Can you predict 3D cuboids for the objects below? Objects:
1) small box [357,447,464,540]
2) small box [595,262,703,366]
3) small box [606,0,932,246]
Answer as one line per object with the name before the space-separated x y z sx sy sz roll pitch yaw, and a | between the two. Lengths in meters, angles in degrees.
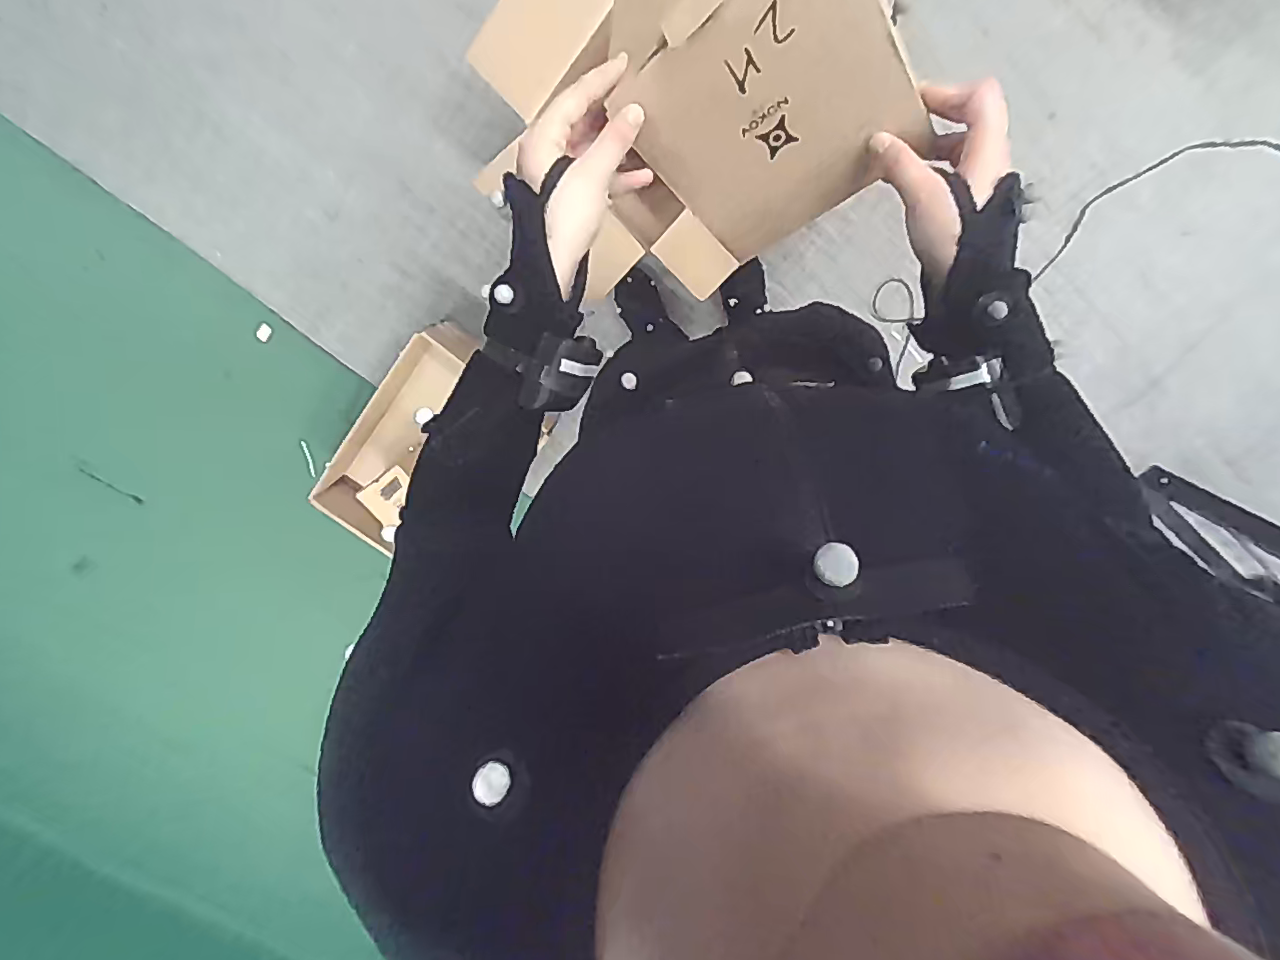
small box | -0.624 0.026 1.493 0.168 0.176 0.179 -31 108 16
small box | 0.025 -0.391 1.286 0.176 0.168 0.179 20 92 -35
small box | 0.095 -0.331 0.412 0.168 0.176 0.179 -22 144 37
